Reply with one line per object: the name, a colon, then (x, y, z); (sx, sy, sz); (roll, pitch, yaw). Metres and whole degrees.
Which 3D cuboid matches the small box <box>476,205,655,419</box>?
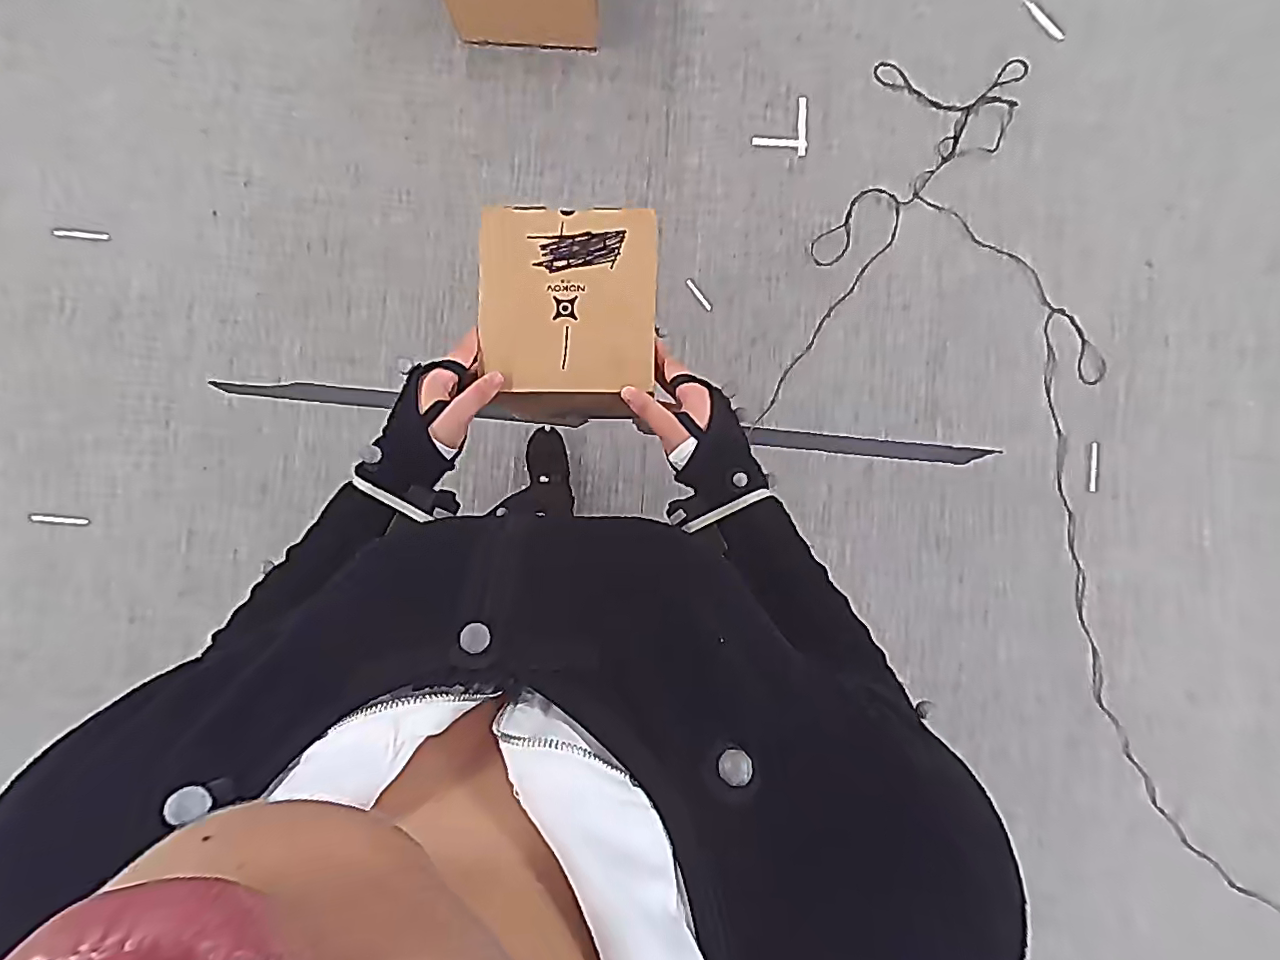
small box: (-0.071, -0.168, 0.585); (0.168, 0.176, 0.179); (0, 88, 0)
